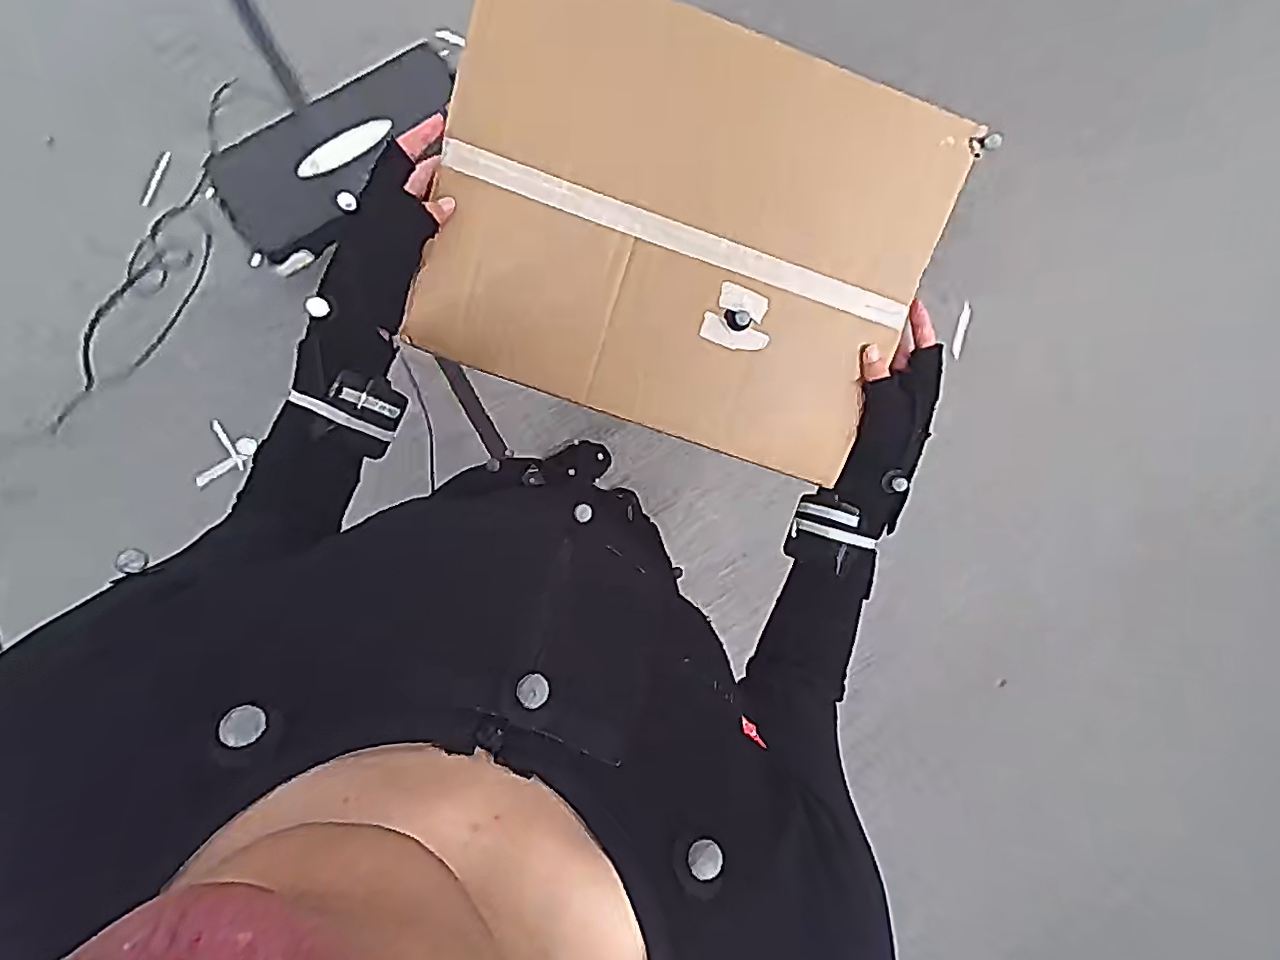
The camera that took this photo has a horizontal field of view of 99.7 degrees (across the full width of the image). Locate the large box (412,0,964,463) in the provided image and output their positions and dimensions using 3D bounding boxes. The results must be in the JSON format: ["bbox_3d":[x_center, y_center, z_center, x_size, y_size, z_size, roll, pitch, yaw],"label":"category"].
[{"bbox_3d":[0.027,-0.241,0.596,0.408,0.320,0.320,16,103,-5],"label":"large box"}]
